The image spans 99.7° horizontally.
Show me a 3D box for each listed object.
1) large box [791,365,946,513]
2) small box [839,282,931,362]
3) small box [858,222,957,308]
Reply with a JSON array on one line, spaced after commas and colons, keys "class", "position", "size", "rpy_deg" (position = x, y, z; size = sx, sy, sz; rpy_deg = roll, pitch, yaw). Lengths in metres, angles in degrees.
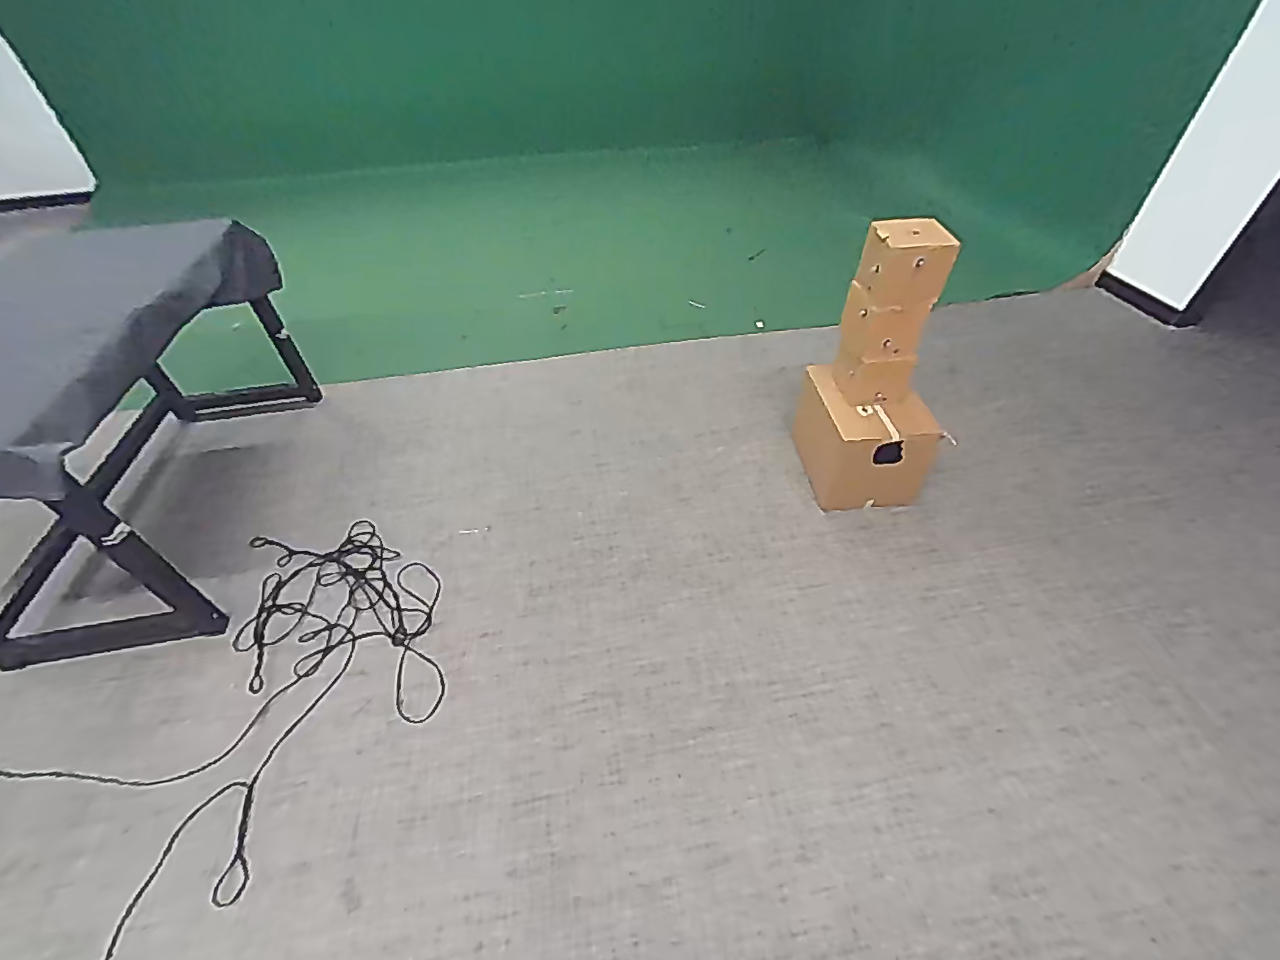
[{"class": "large box", "position": [0.742, -0.144, 1.838], "size": [0.320, 0.320, 0.408], "rpy_deg": [-5, 46, -1]}, {"class": "small box", "position": [0.707, -0.467, 1.587], "size": [0.168, 0.176, 0.179], "rpy_deg": [-6, 46, -3]}, {"class": "small box", "position": [0.714, -0.581, 1.471], "size": [0.179, 0.176, 0.168], "rpy_deg": [-3, 47, -2]}]
